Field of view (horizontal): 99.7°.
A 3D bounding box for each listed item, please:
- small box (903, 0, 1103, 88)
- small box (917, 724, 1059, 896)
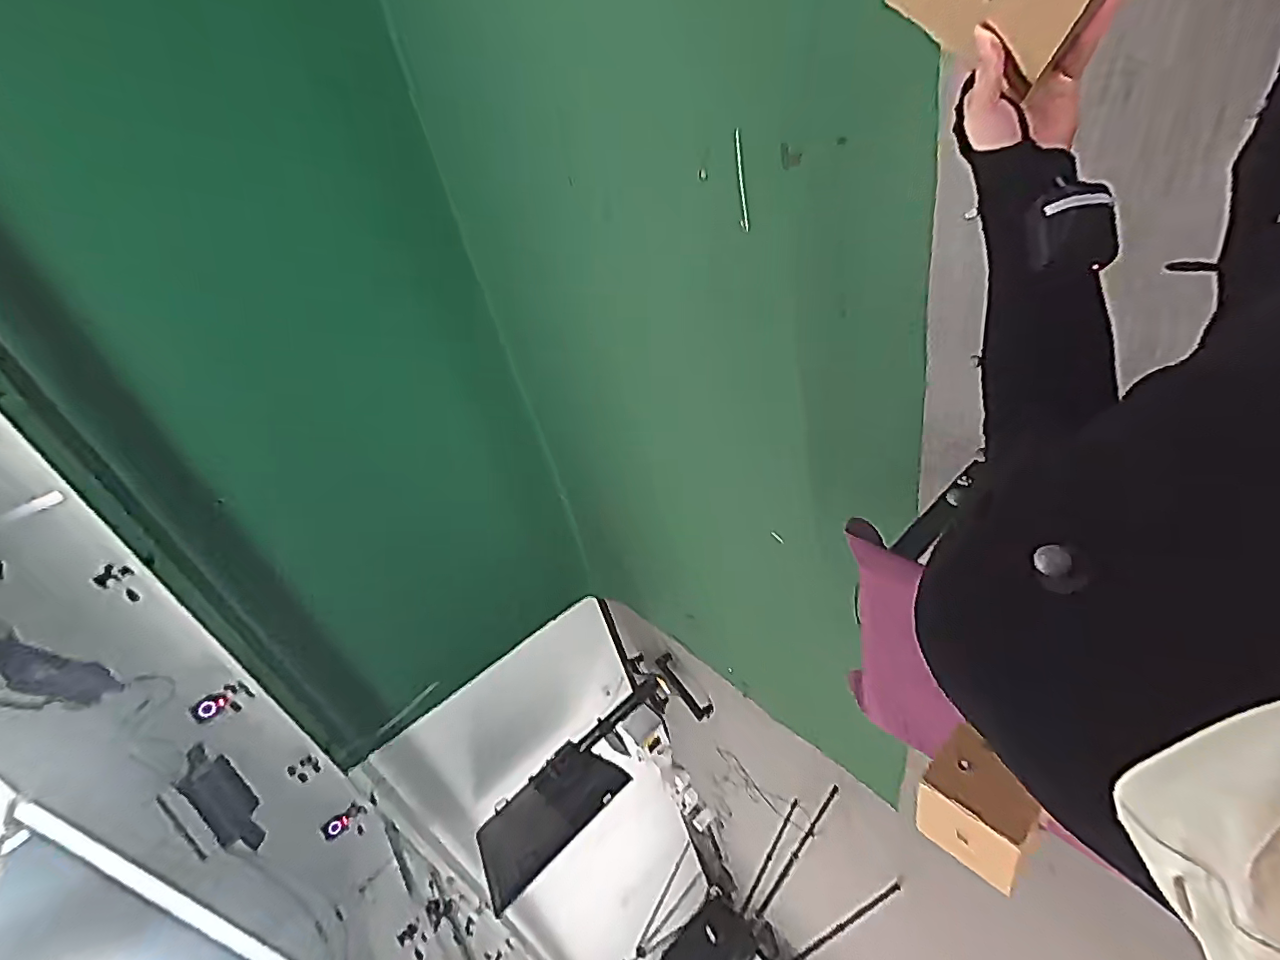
[{"bbox_3d":[0.313,-0.454,0.391,0.168,0.176,0.179,46,-163,9],"label":"small box"},{"bbox_3d":[0.638,0.595,0.997,0.168,0.176,0.179,24,138,48],"label":"small box"}]
